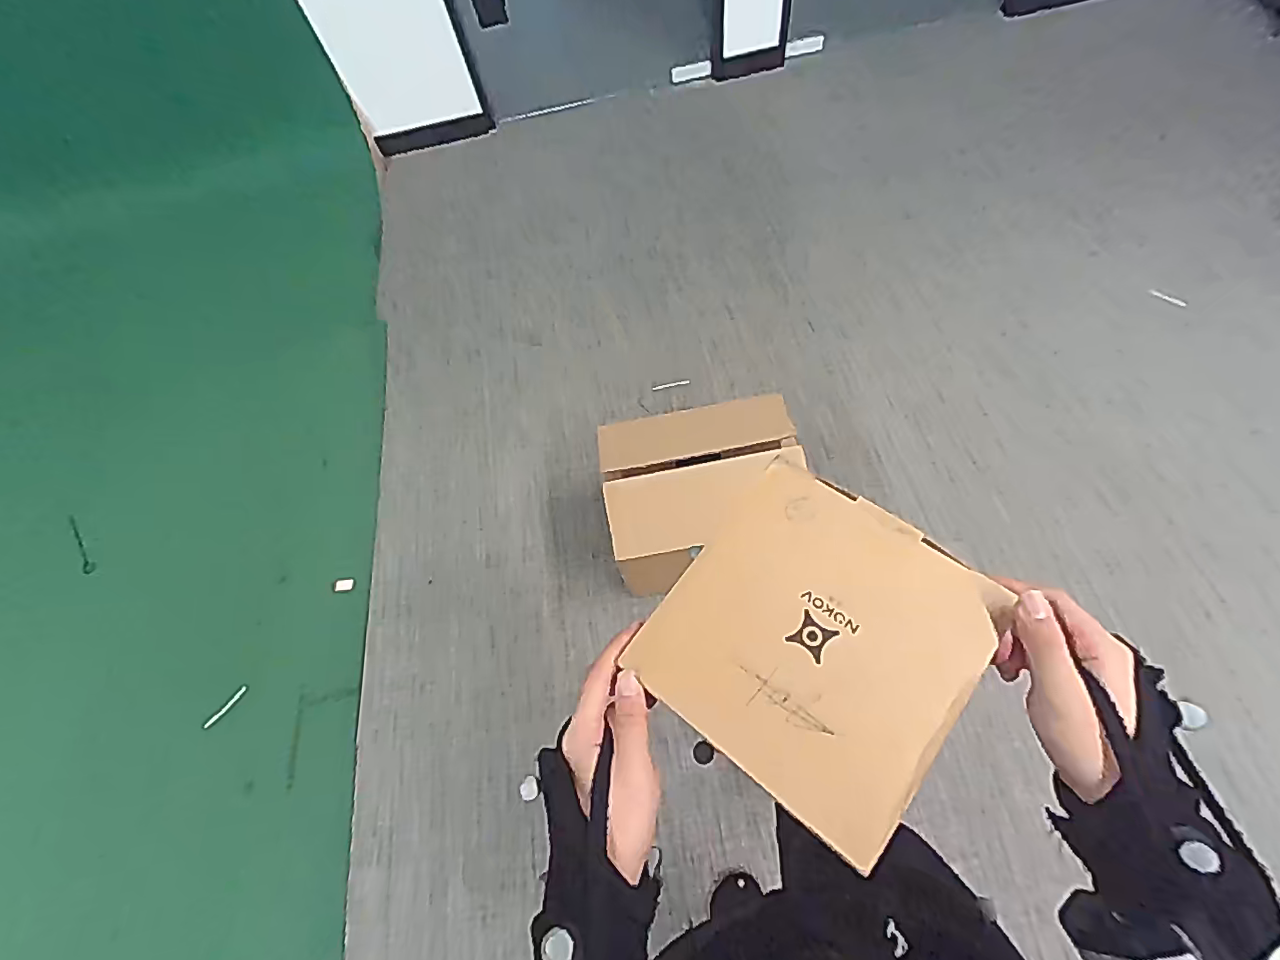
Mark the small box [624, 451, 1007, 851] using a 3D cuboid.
[{"bbox_3d":[0.113,0.117,0.396,0.168,0.176,0.179,34,75,22],"label":"small box"}]
